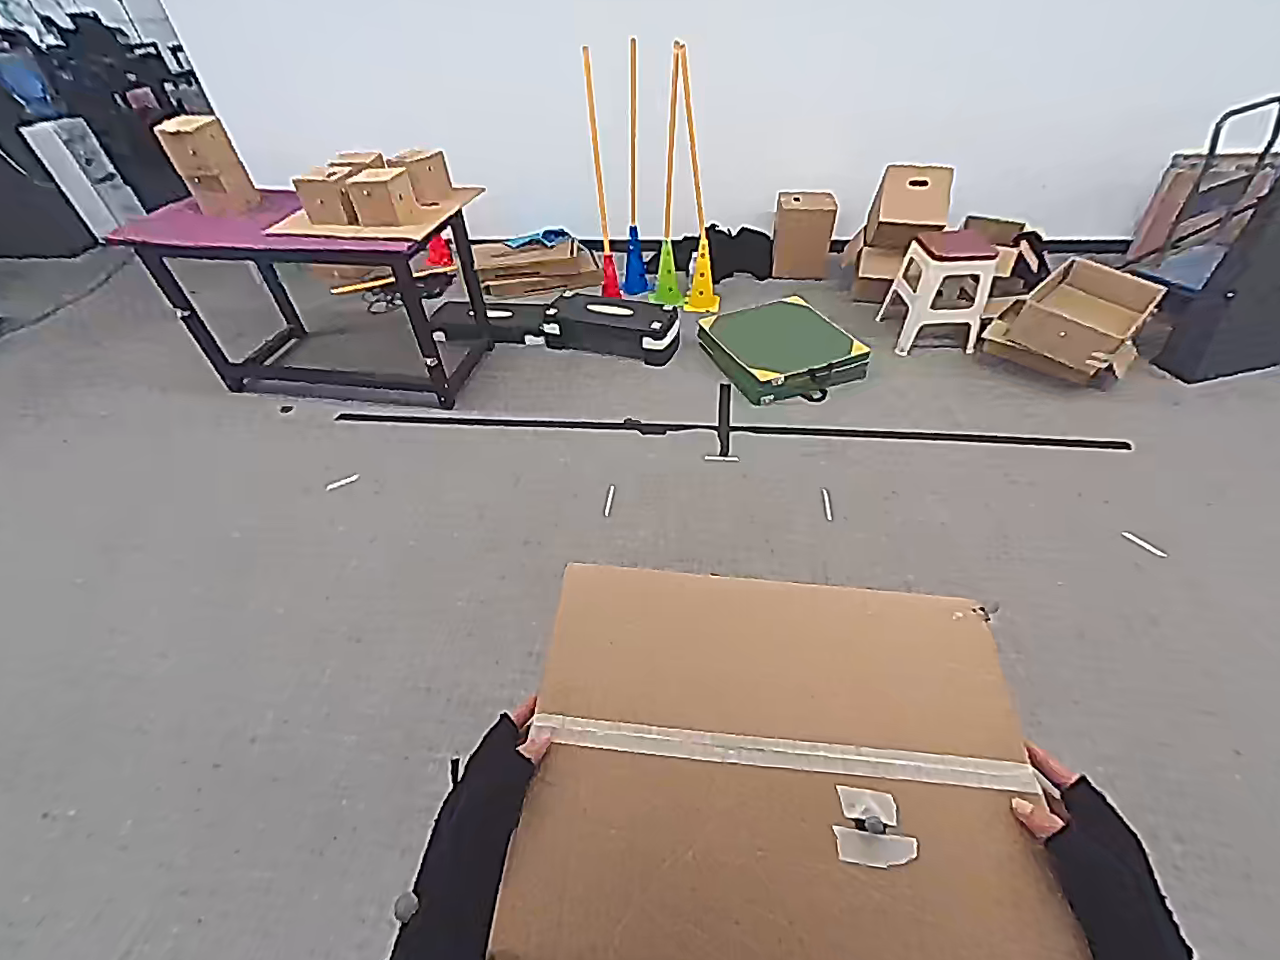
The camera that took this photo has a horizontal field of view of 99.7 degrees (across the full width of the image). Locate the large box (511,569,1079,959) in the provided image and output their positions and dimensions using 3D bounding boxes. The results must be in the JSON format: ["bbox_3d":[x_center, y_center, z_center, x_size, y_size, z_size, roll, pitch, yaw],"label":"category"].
[{"bbox_3d":[0.114,0.316,0.575,0.408,0.320,0.320,4,53,3],"label":"large box"}]
